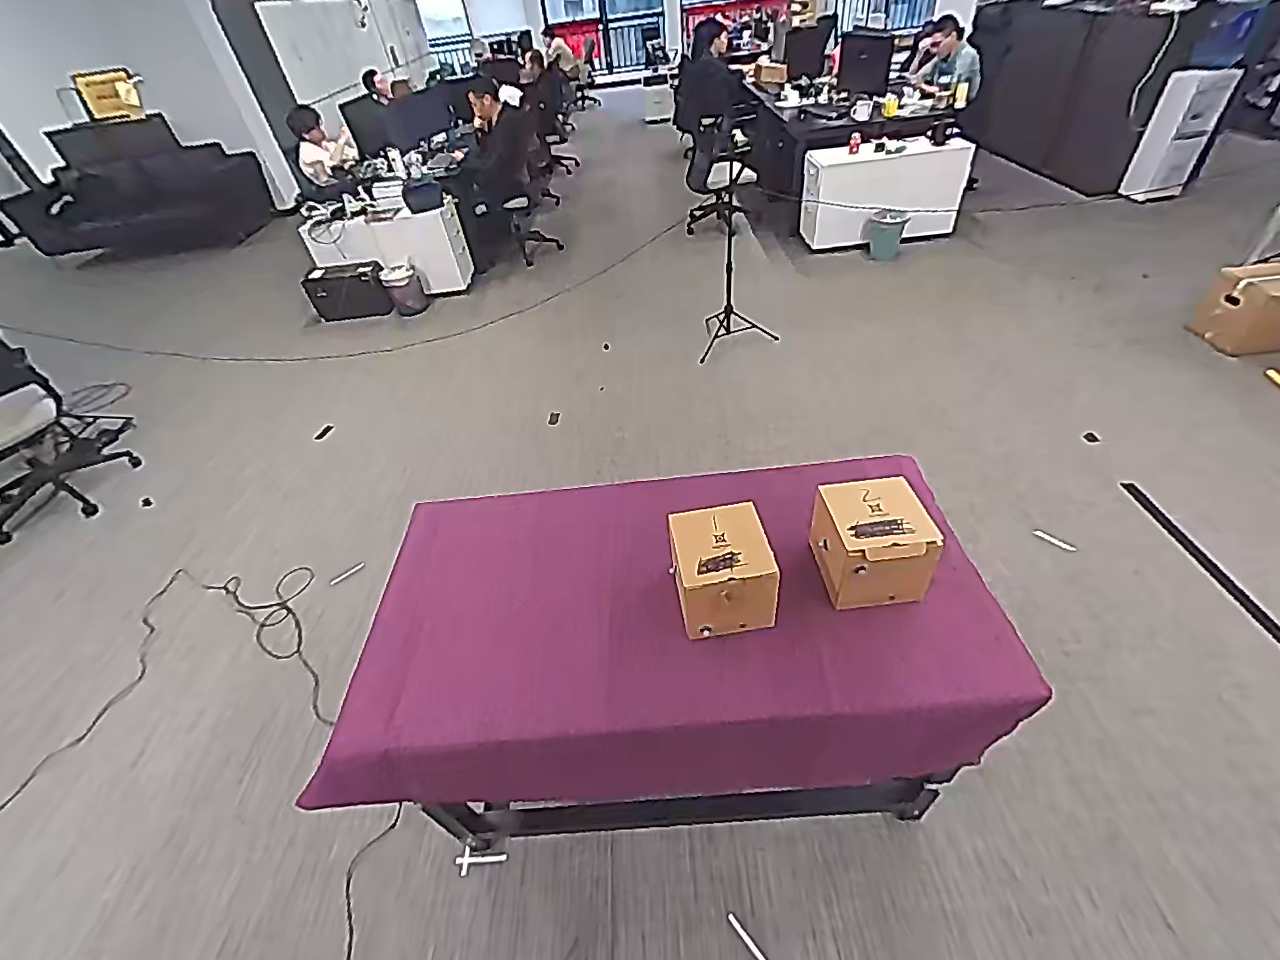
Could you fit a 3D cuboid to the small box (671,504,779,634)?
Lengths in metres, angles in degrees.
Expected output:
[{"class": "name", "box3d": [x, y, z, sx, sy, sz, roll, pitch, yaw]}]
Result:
[{"class": "small box", "box3d": [0.156, 0.174, 1.020, 0.168, 0.176, 0.179, -8, 41, -1]}]
